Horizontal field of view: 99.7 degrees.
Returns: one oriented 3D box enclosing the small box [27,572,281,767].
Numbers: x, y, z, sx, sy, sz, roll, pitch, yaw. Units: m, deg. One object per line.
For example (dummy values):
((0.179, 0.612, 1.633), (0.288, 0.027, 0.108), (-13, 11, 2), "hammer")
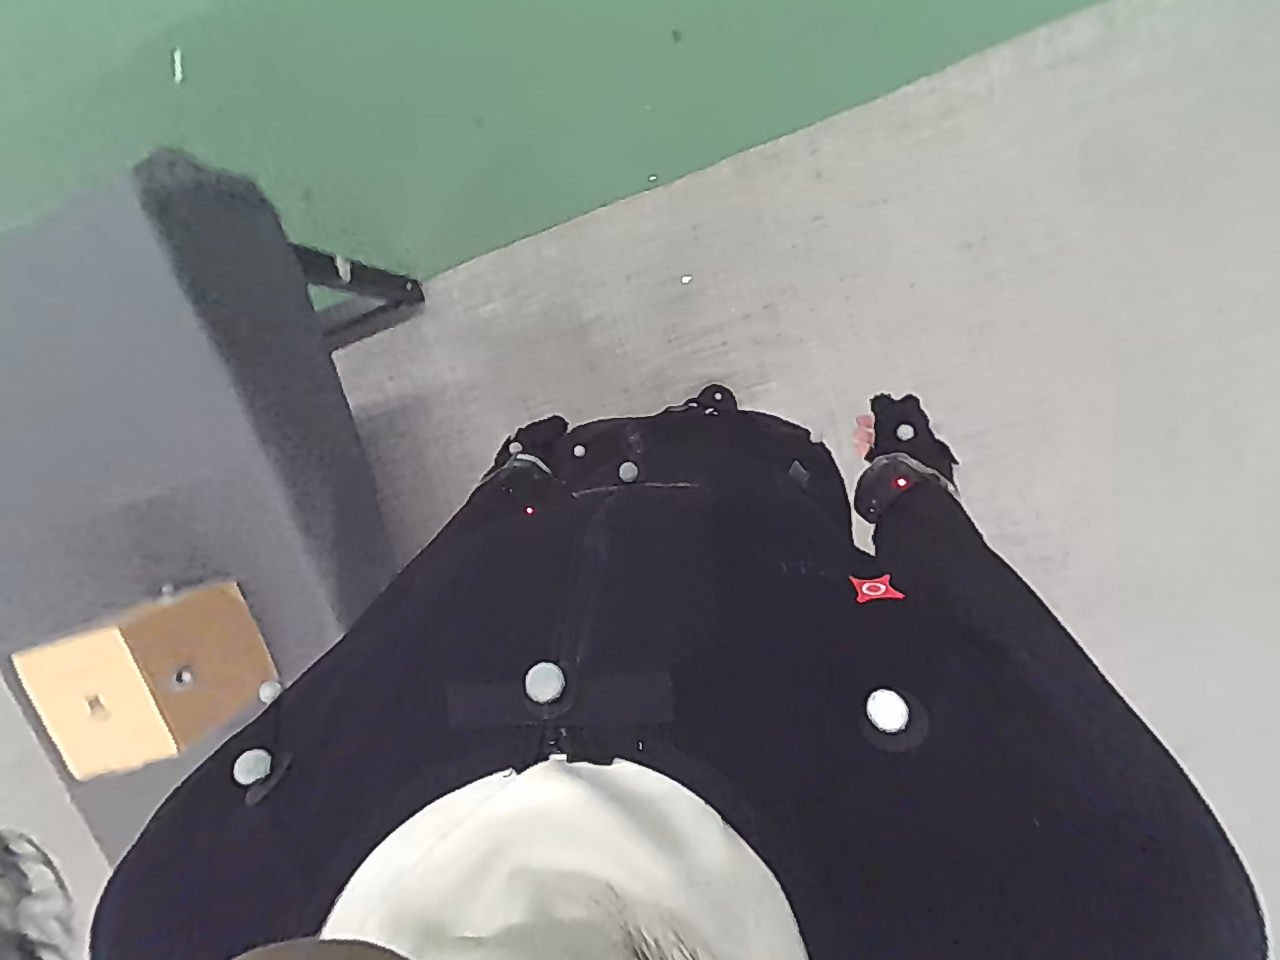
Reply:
((-0.646, 0.251, 0.744), (0.168, 0.176, 0.179), (-17, 97, 10), "small box")
